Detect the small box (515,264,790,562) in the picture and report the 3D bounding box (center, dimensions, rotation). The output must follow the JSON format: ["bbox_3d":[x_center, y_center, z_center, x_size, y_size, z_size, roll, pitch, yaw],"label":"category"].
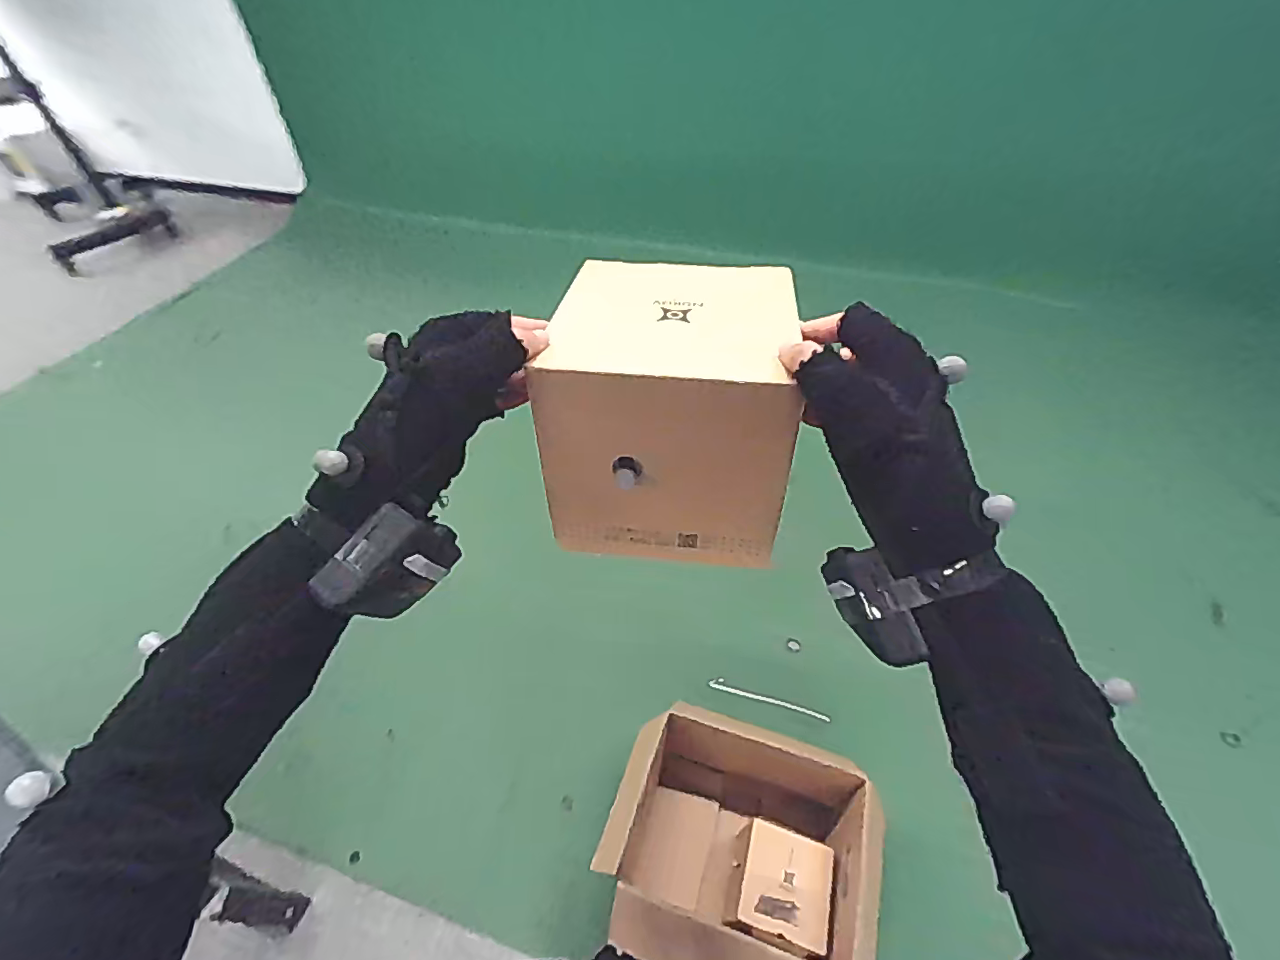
[{"bbox_3d":[0.018,-0.055,0.425,0.168,0.176,0.179,4,42,6],"label":"small box"}]
